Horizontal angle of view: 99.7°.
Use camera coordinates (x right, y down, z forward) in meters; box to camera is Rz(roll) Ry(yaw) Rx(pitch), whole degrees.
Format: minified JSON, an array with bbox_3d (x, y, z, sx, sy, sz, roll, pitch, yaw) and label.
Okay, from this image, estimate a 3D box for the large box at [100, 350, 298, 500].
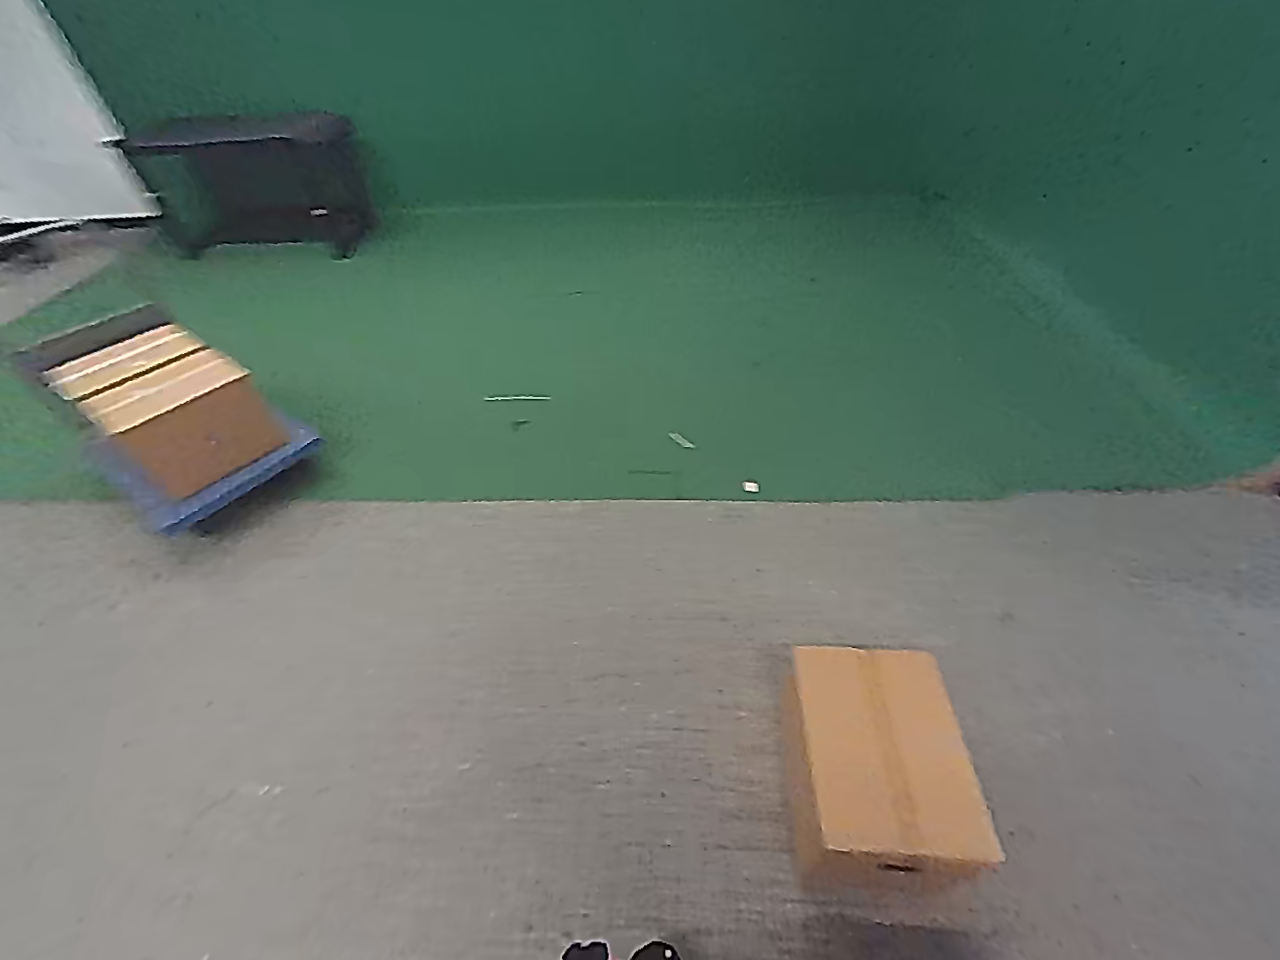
[{"bbox_3d":[-1.564,-0.207,1.951,0.320,0.320,0.408,28,54,29],"label":"large box"}]
